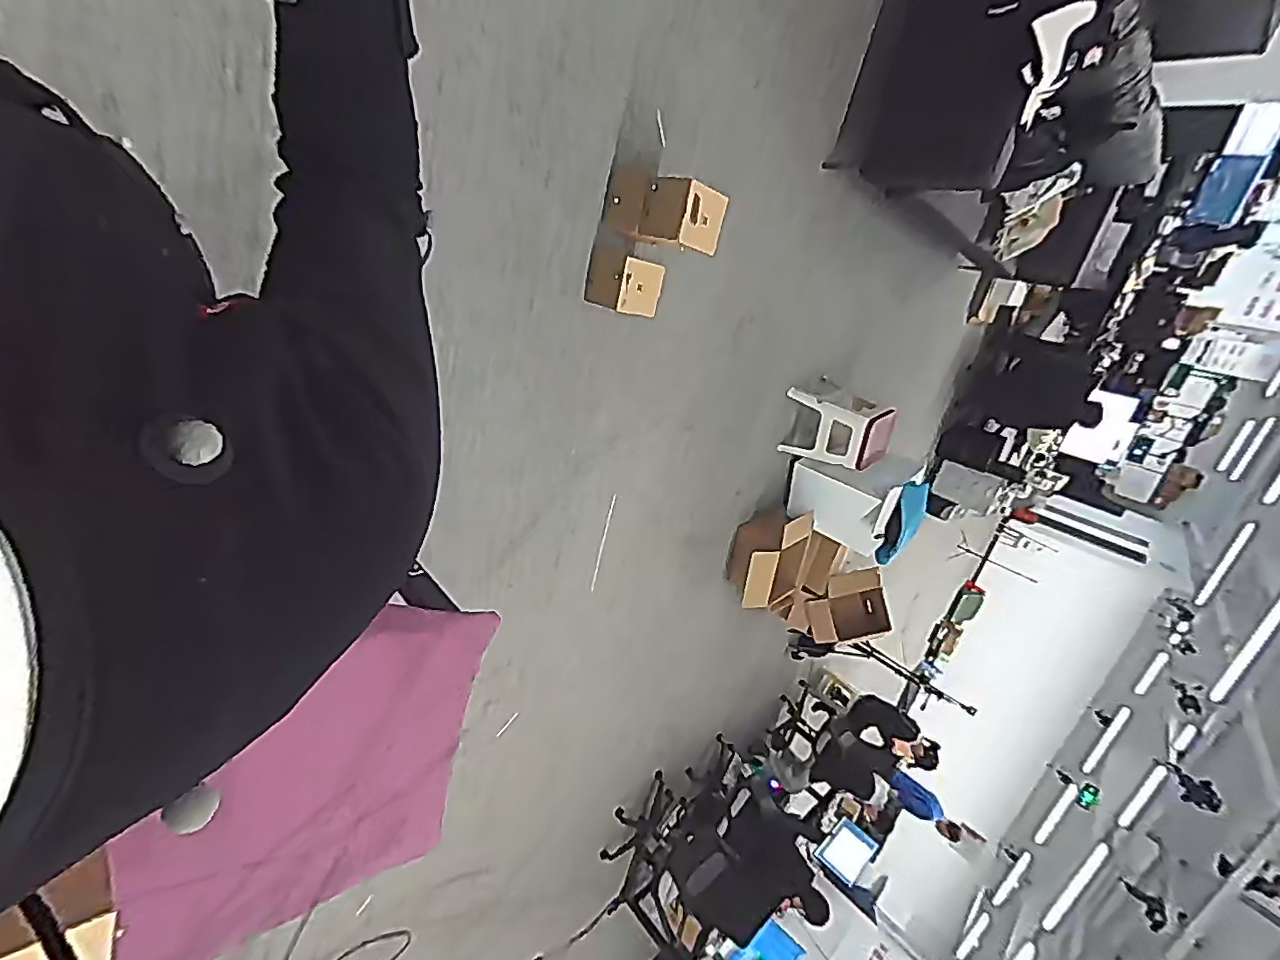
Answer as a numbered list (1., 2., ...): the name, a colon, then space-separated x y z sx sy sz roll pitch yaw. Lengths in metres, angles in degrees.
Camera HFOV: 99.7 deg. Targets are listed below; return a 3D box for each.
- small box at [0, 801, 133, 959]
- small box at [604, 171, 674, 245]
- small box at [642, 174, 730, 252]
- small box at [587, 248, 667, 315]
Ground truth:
1. small box: -0.716 0.527 0.629 0.168 0.176 0.179 2 111 -49
2. small box: 0.017 -0.859 1.705 0.179 0.176 0.168 -4 116 -46
3. small box: 0.133 -0.794 1.608 0.179 0.176 0.168 -6 118 -46
4. small box: -0.045 -0.651 1.769 0.179 0.176 0.168 -8 119 -46
